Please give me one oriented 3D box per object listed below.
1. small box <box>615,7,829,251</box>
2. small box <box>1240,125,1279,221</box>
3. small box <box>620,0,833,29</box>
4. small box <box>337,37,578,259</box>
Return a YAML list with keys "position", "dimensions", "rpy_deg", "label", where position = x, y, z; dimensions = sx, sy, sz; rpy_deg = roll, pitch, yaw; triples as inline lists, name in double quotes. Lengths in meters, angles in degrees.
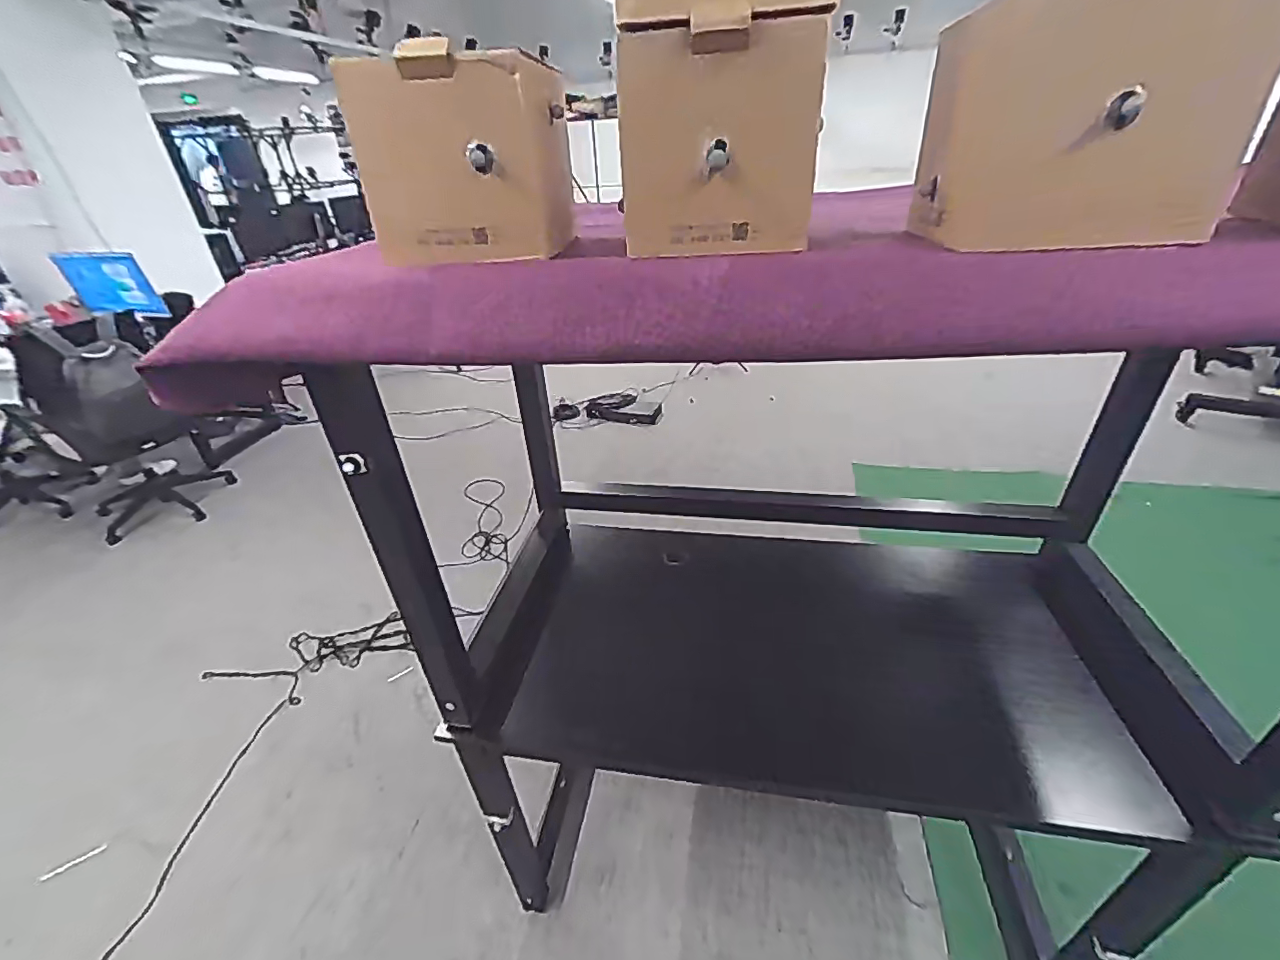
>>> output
- position: [0.076, -0.320, 0.519]
  dimensions: [0.168, 0.176, 0.179]
  rpy_deg: [1, 32, 7]
  label: "small box"
- position: [0.622, -0.276, 0.388]
  dimensions: [0.179, 0.176, 0.168]
  rpy_deg: [2, 32, 12]
  label: "small box"
- position: [0.068, -0.457, 0.431]
  dimensions: [0.168, 0.176, 0.179]
  rpy_deg: [0, 29, 6]
  label: "small box"
- position: [-0.162, -0.326, 0.554]
  dimensions: [0.168, 0.176, 0.179]
  rpy_deg: [1, 31, 5]
  label: "small box"
